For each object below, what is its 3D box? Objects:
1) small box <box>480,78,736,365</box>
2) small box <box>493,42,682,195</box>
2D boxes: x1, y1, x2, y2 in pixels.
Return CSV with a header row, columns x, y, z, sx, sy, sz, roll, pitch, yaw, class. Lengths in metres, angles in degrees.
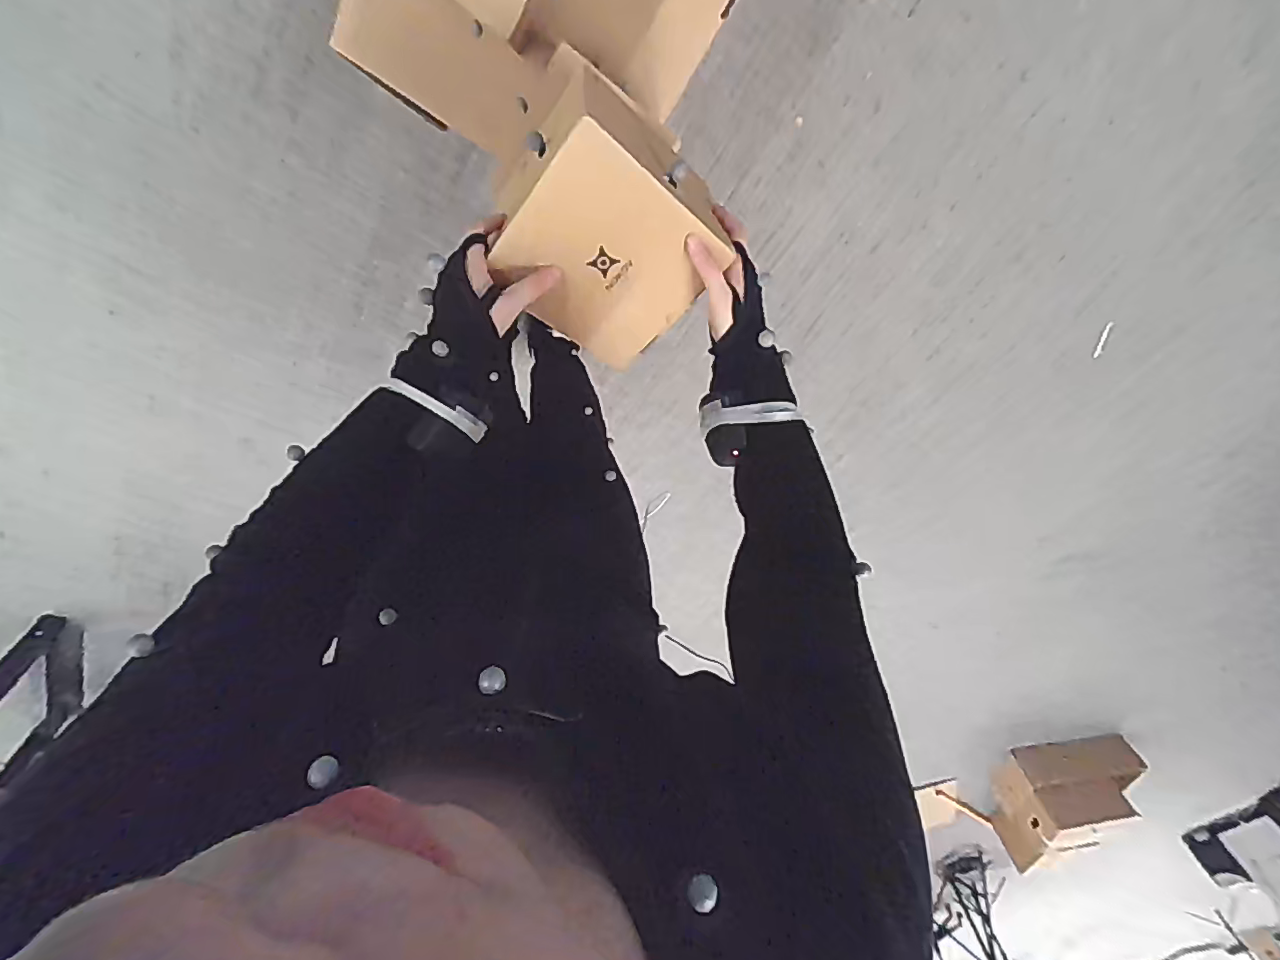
x,y,z,sx,sy,sz,roll,pitch,yaw,class
-0.036,-0.257,0.541,0.179,0.176,0.168,27,128,-34,small box
-0.074,-0.418,0.703,0.168,0.176,0.179,26,118,-25,small box
